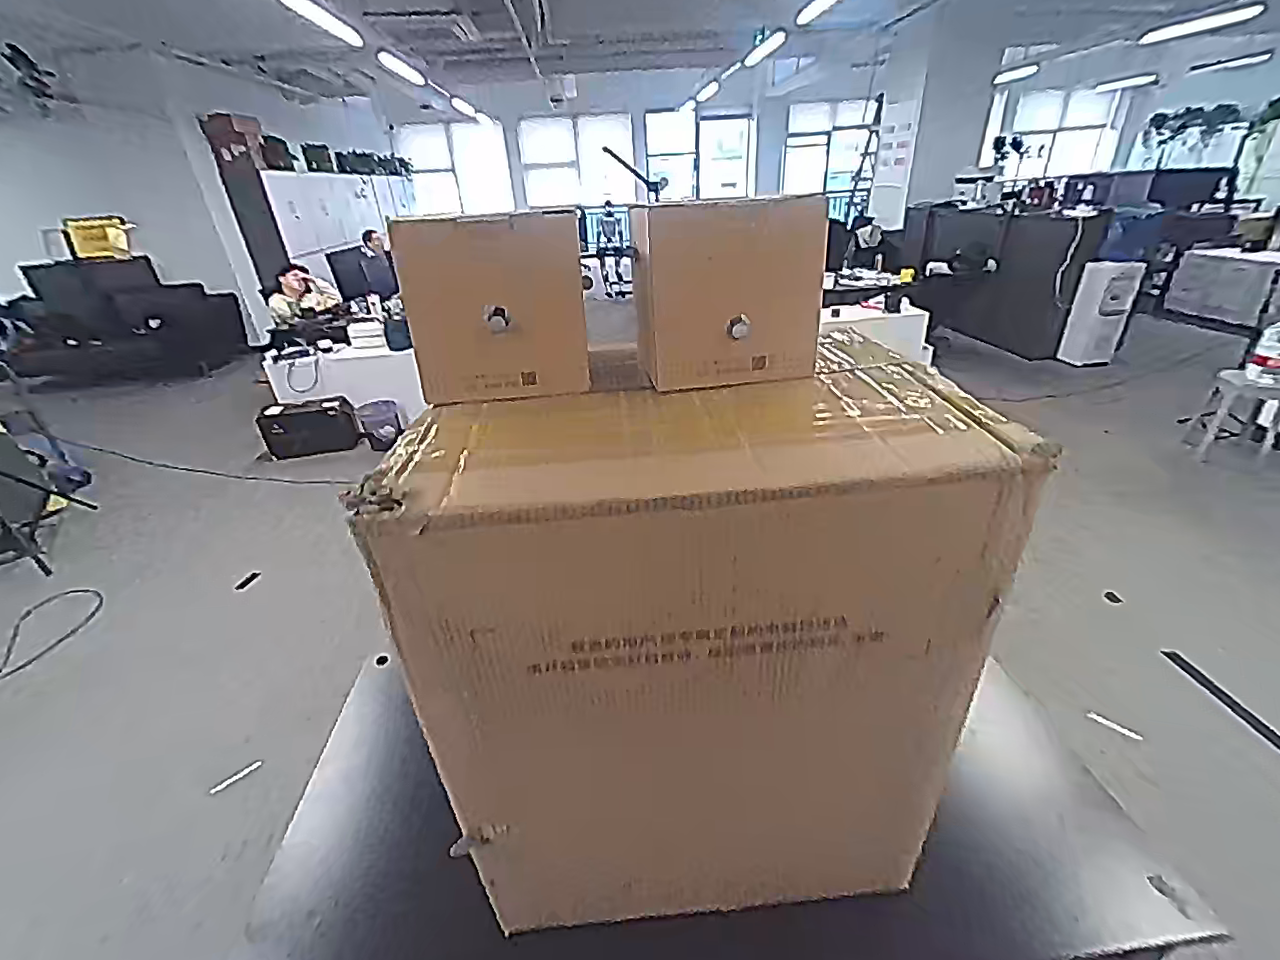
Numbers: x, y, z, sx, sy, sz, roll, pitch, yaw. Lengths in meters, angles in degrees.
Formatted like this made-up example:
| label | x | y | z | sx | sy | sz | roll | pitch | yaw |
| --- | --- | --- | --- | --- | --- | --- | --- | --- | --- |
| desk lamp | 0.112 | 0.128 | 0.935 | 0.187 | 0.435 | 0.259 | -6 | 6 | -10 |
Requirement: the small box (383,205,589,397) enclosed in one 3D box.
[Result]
| label | x | y | z | sx | sy | sz | roll | pitch | yaw |
| --- | --- | --- | --- | --- | --- | --- | --- | --- | --- |
| small box | -0.147 | -0.191 | 0.576 | 0.168 | 0.176 | 0.179 | -6 | 28 | -7 |

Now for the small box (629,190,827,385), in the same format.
| label | x | y | z | sx | sy | sz | roll | pitch | yaw |
| --- | --- | --- | --- | --- | --- | --- | --- | --- | --- |
| small box | 0.080 | -0.208 | 0.580 | 0.168 | 0.176 | 0.179 | -7 | 27 | -4 |
